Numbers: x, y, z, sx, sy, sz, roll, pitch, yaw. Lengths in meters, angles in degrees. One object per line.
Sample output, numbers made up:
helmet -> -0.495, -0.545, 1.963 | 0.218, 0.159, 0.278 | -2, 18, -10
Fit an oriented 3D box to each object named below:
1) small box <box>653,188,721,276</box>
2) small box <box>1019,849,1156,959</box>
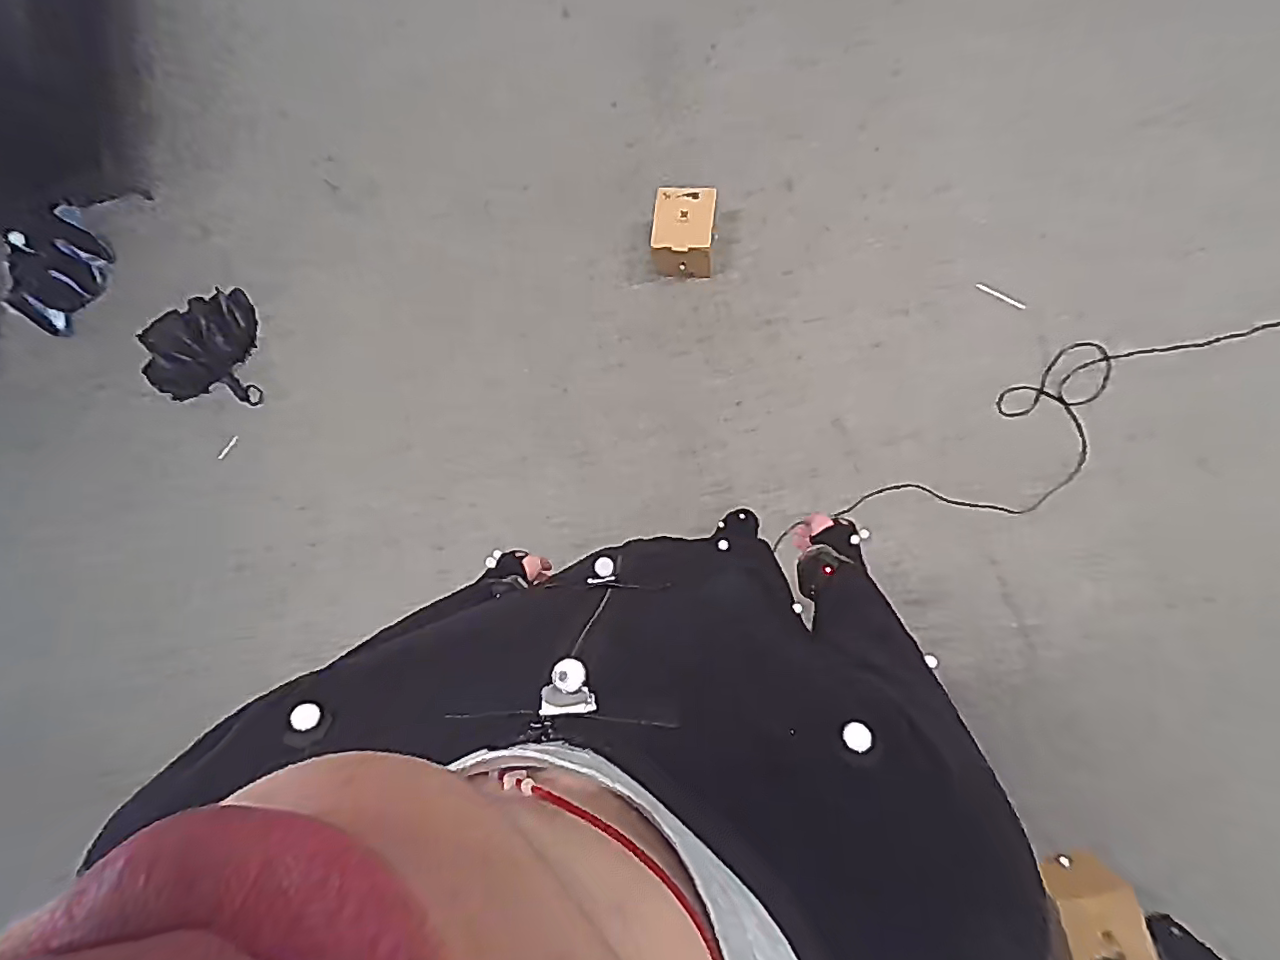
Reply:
small box -> 0.139, -0.702, 1.543 | 0.168, 0.176, 0.179 | 6, 86, 10
small box -> 1.019, 0.993, 1.242 | 0.168, 0.176, 0.179 | -13, 81, 7
